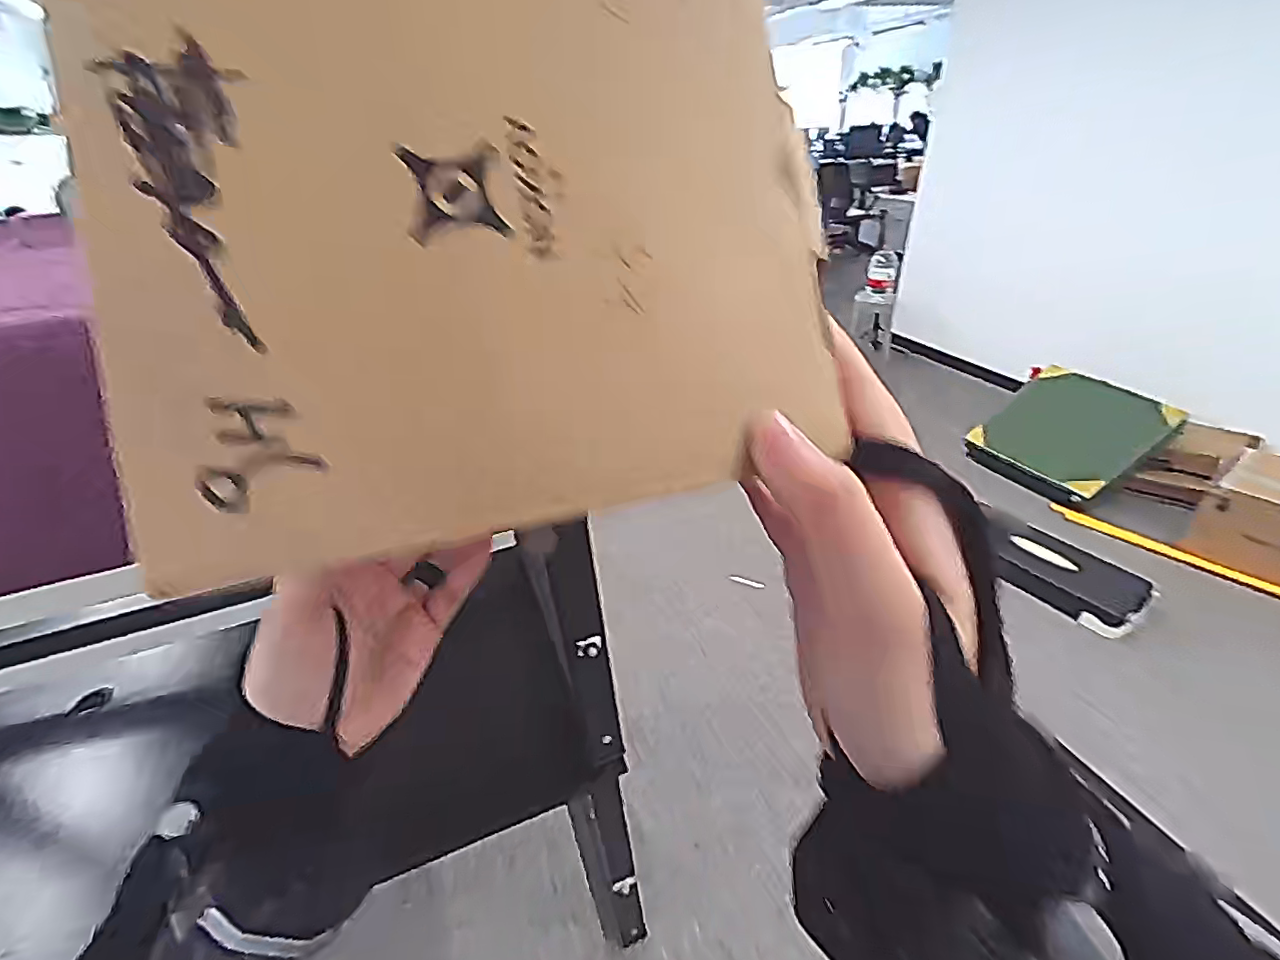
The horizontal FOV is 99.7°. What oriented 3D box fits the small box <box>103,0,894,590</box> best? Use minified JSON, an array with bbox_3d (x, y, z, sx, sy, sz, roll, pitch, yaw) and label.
[{"bbox_3d":[-0.042,-0.065,0.212,0.179,0.168,0.176,-10,-2,-13],"label":"small box"}]
